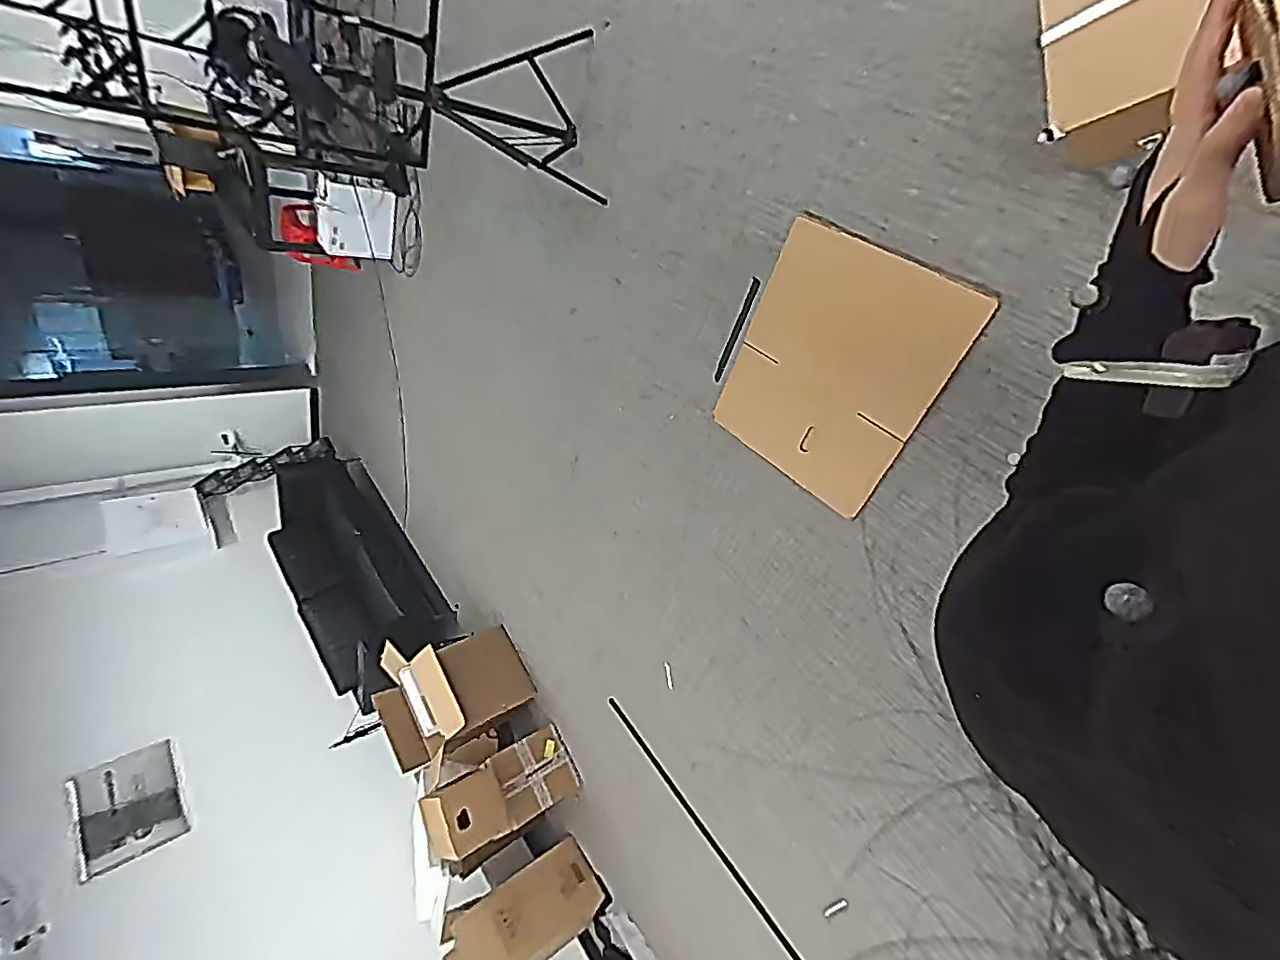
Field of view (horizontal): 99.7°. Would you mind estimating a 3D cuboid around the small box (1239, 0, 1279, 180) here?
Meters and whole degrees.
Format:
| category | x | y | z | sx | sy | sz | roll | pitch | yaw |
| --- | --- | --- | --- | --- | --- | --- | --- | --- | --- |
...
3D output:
| category | x | y | z | sx | sy | sz | roll | pitch | yaw |
| --- | --- | --- | --- | --- | --- | --- | --- | --- | --- |
| small box | 0.369 | -0.253 | 0.213 | 0.179 | 0.176 | 0.168 | -10 | 88 | 48 |
